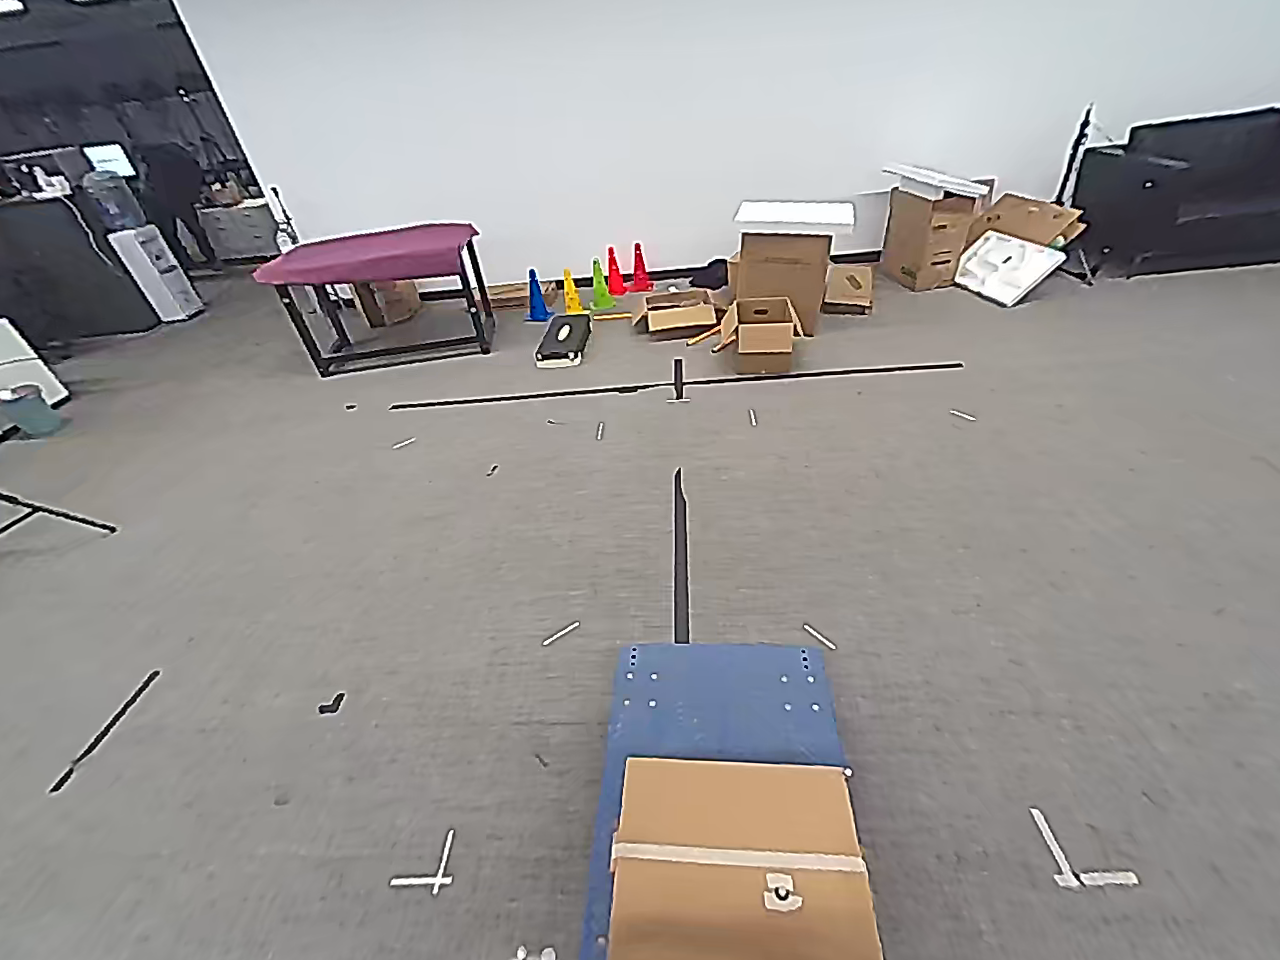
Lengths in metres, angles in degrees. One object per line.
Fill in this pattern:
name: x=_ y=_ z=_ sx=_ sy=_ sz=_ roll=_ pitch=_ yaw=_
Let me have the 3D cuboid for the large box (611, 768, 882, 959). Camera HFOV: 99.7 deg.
large box: x=0.170 y=0.753 z=0.973 sx=0.408 sy=0.320 sz=0.320 roll=-1 pitch=38 yaw=6
